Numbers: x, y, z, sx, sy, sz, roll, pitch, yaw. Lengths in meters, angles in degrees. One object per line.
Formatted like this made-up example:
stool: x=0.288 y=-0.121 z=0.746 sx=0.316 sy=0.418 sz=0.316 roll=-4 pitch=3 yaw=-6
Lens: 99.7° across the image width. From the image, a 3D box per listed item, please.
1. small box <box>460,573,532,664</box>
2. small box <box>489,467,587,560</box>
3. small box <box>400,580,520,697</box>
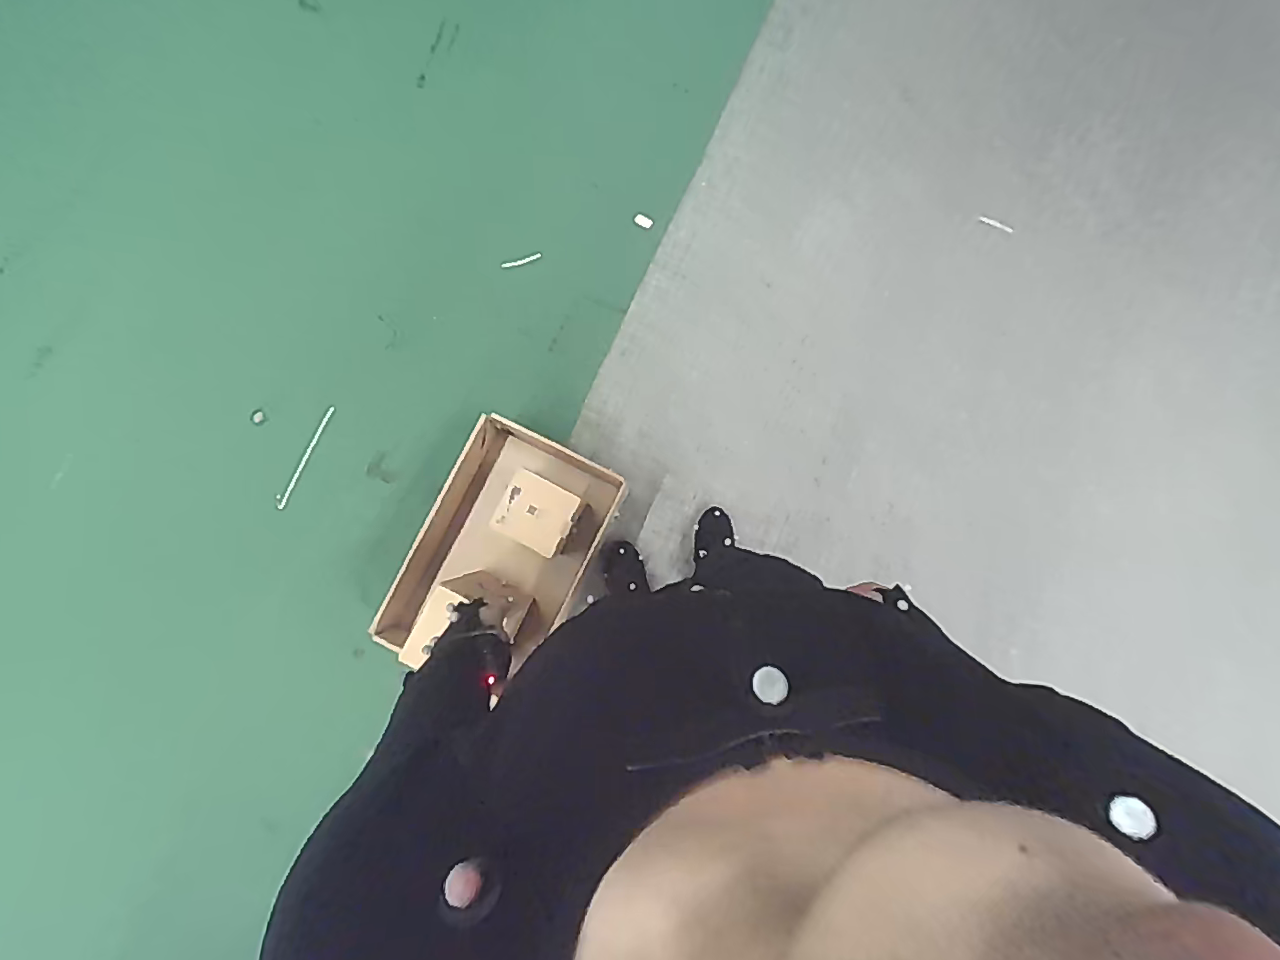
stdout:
small box: x=-0.381 y=0.343 z=1.328 sx=0.168 sy=0.176 sz=0.179 roll=26 pitch=84 yaw=0
small box: x=-0.246 y=0.082 z=1.357 sx=0.179 sy=0.176 sz=0.168 roll=28 pitch=86 yaw=0
small box: x=-0.373 y=0.329 z=1.164 sx=0.168 sy=0.176 sz=0.179 roll=27 pitch=85 yaw=1
